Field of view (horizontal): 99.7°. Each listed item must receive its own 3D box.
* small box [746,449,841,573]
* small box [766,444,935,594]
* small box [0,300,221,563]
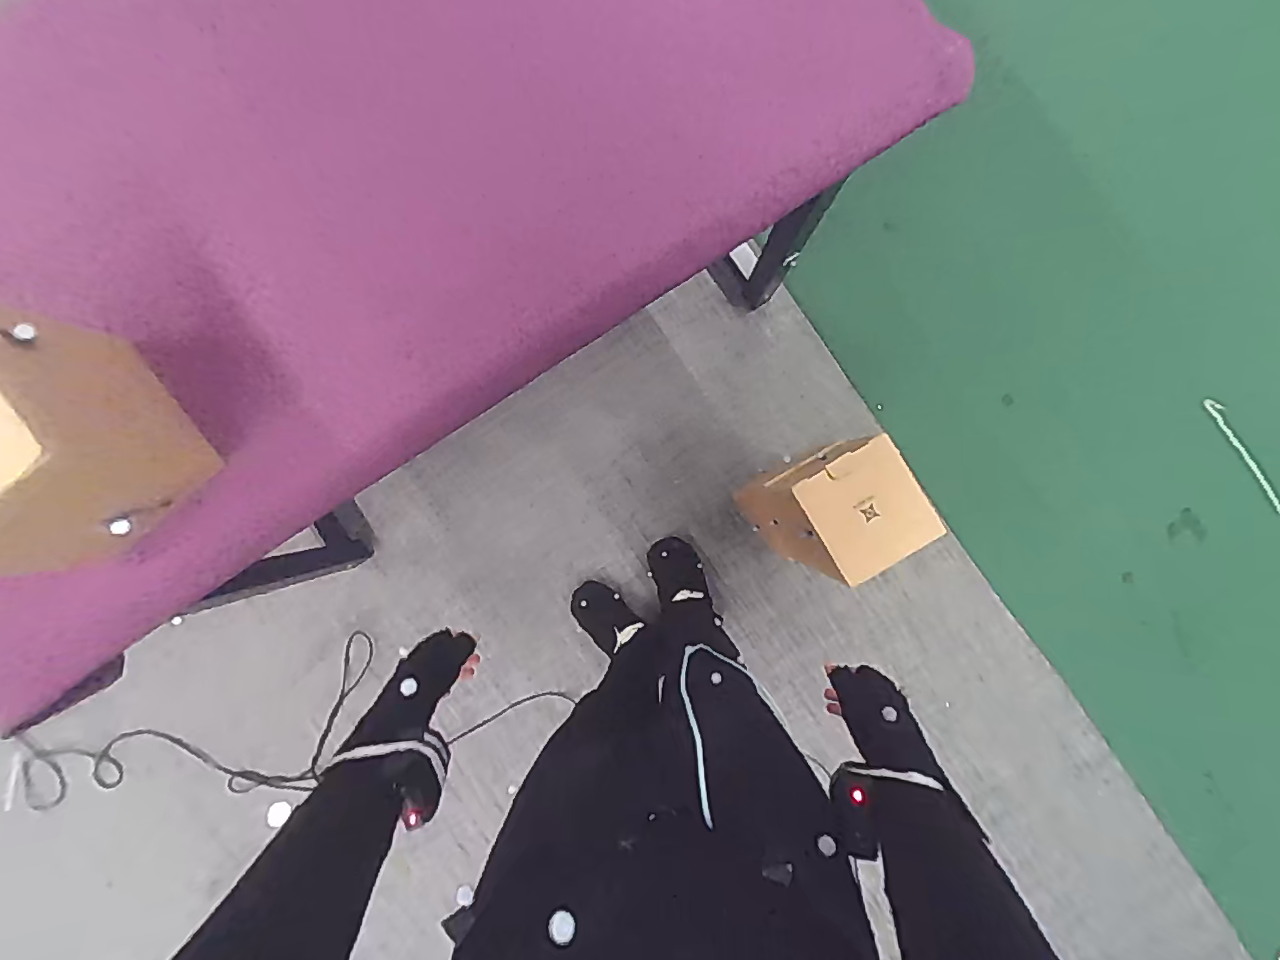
[{"bbox_3d":[0.325,0.055,1.046,0.168,0.176,0.179,-29,88,0],"label":"small box"},{"bbox_3d":[0.330,0.058,0.883,0.168,0.176,0.179,-30,88,0],"label":"small box"},{"bbox_3d":[-0.549,-0.035,0.489,0.168,0.176,0.179,-38,88,0],"label":"small box"}]
